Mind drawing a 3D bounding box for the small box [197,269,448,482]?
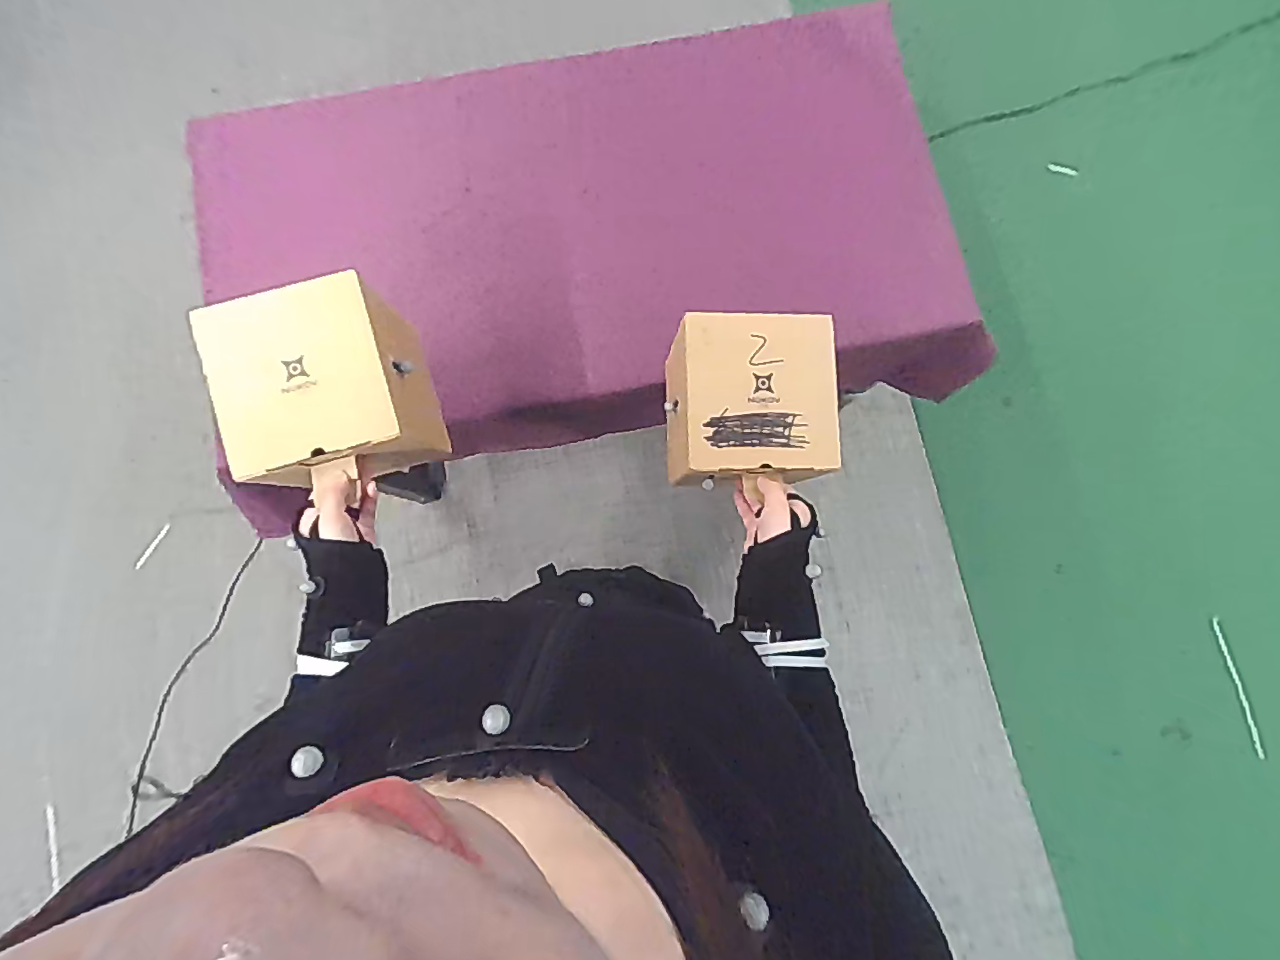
[{"bbox_3d":[-0.335,-0.103,0.606,0.168,0.176,0.179,-16,89,-5],"label":"small box"}]
